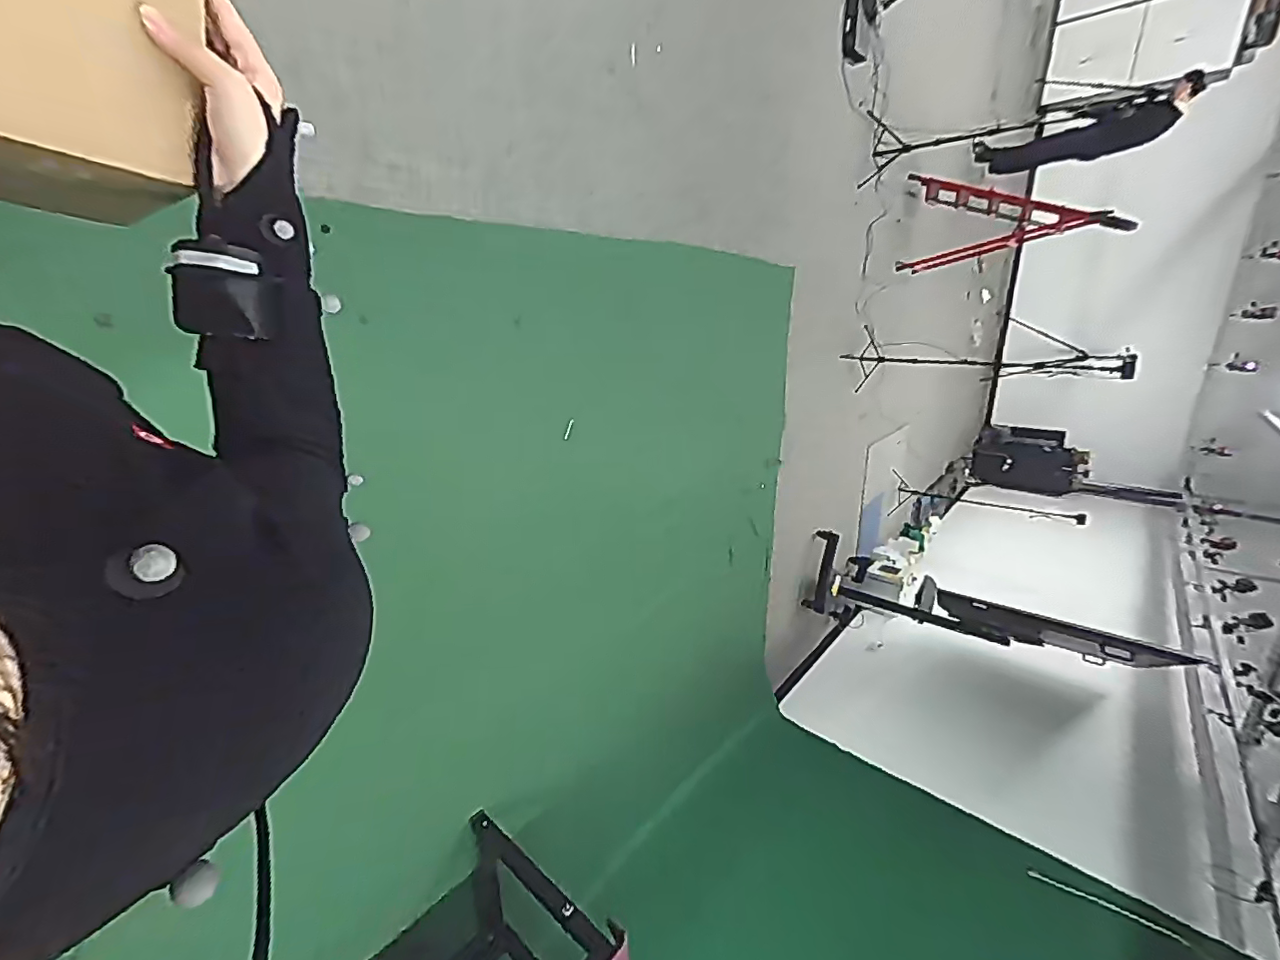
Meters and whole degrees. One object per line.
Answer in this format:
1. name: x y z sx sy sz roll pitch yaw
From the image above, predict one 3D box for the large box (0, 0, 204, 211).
1. large box: -0.545 -0.383 0.303 0.408 0.320 0.320 -7 108 -51
